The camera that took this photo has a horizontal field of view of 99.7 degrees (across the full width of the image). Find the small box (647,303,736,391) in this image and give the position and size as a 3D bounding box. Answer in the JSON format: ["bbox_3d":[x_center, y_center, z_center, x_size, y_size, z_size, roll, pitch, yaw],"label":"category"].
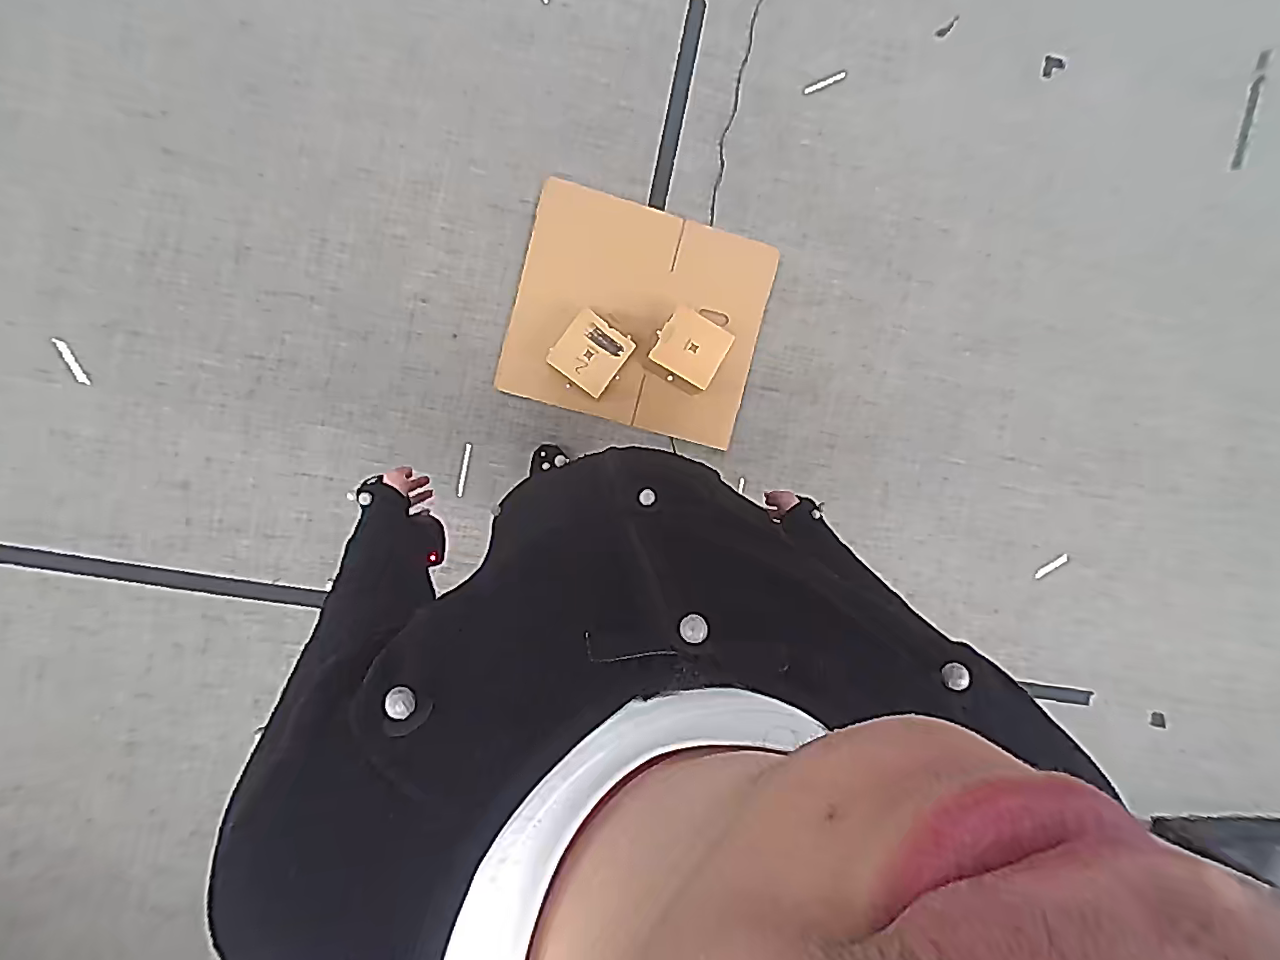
[{"bbox_3d":[0.136,-0.358,1.495,0.179,0.176,0.168,30,91,-5],"label":"small box"}]
